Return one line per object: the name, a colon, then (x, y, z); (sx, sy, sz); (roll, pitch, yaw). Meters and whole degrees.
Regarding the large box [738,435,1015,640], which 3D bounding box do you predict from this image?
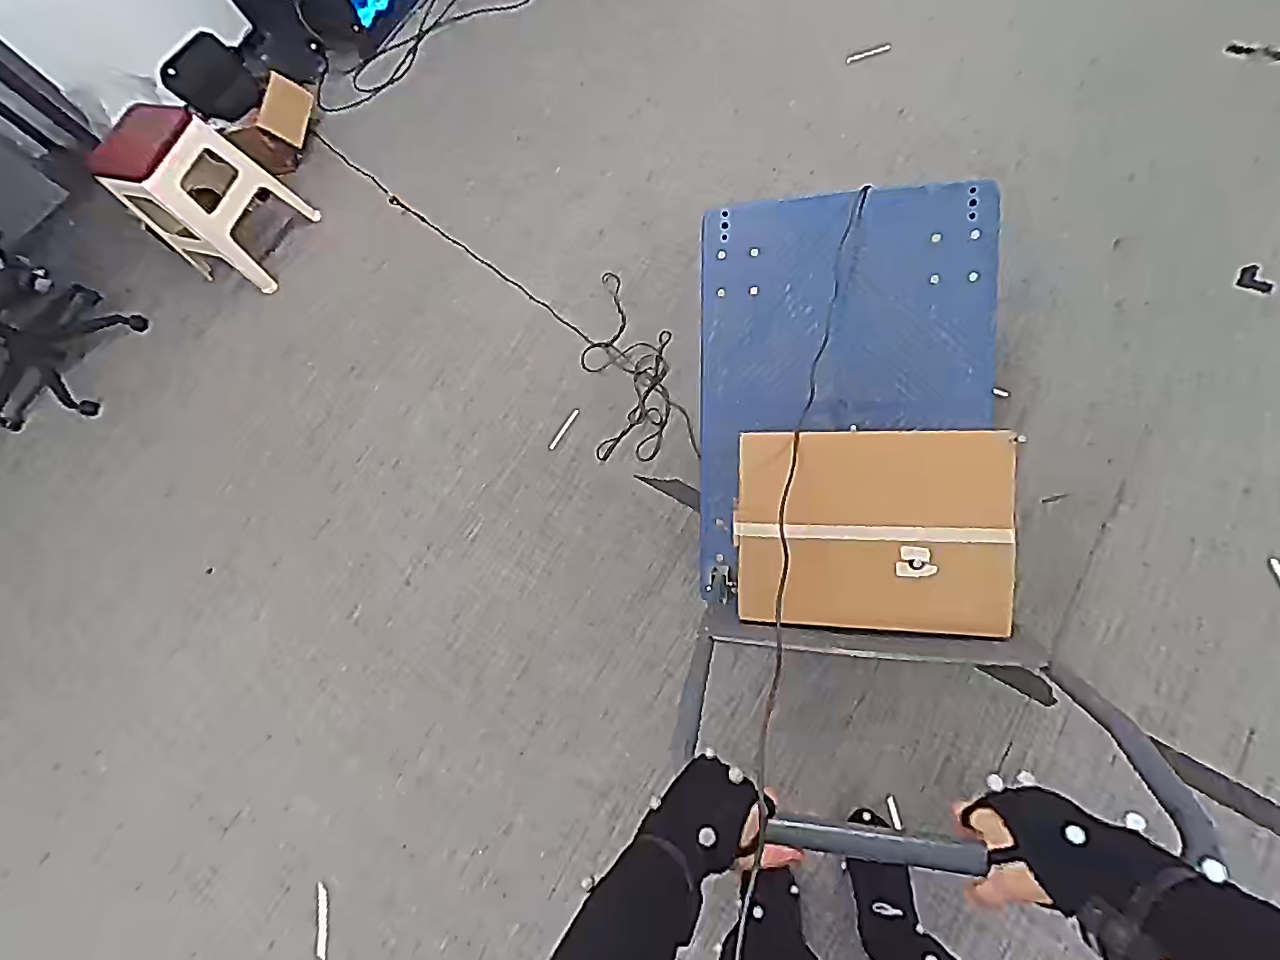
large box: (0.388, 0.082, 0.987); (0.408, 0.320, 0.320); (1, 94, 12)
